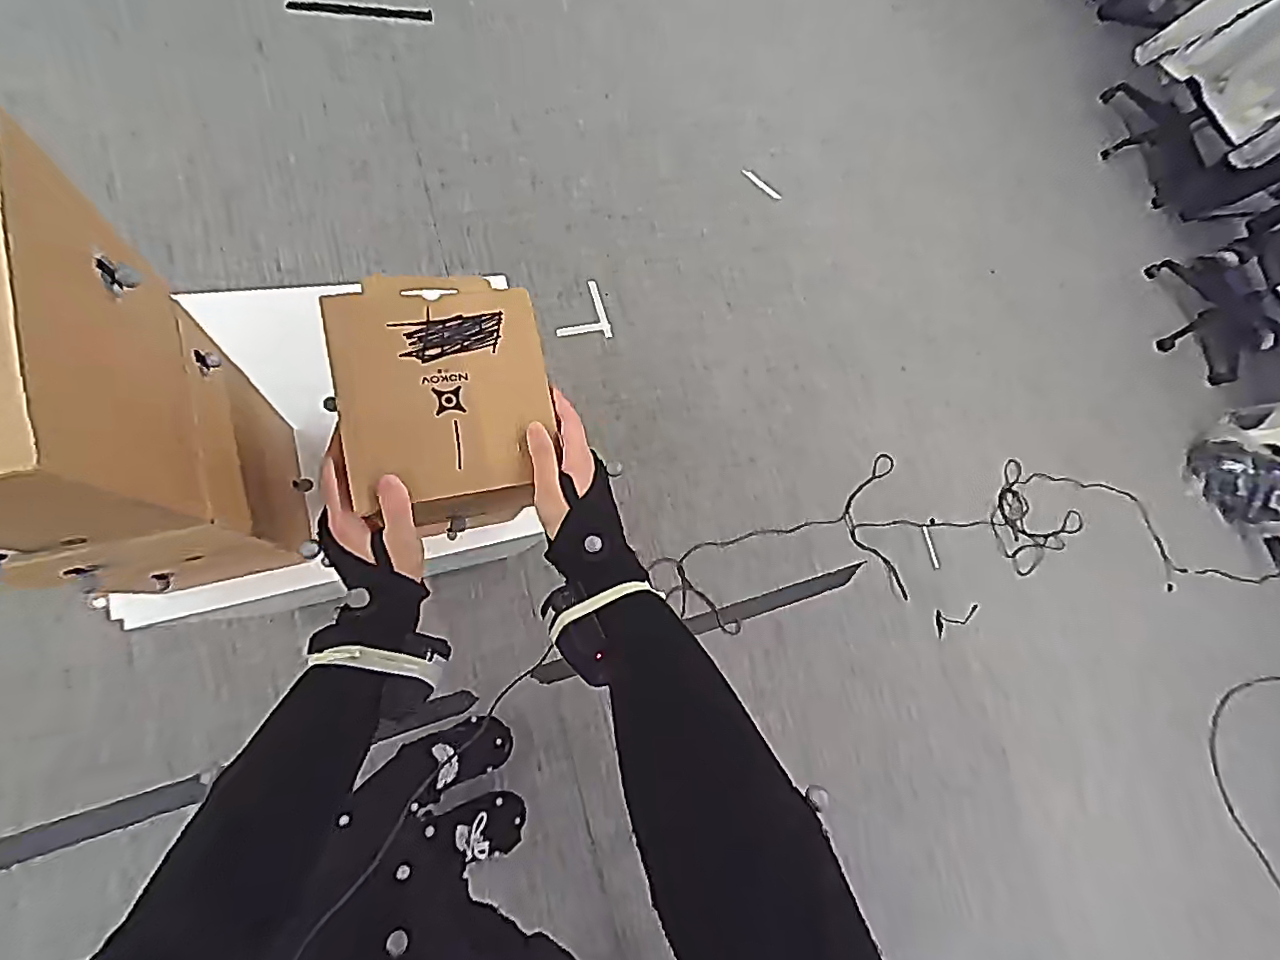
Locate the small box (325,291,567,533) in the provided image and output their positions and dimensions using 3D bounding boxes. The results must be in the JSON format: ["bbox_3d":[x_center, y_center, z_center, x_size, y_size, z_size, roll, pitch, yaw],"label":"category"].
[{"bbox_3d":[-0.180,-0.056,0.509,0.168,0.176,0.179,-10,83,-21],"label":"small box"}]

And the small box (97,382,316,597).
[{"bbox_3d":[-0.463,0.017,0.570,0.168,0.176,0.179,-12,81,-21],"label":"small box"}]

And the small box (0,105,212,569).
[{"bbox_3d":[-0.356,-0.052,0.271,0.168,0.176,0.179,-14,83,-21],"label":"small box"}]

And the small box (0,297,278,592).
[{"bbox_3d":[-0.410,-0.016,0.420,0.168,0.176,0.179,-13,82,-21],"label":"small box"}]
